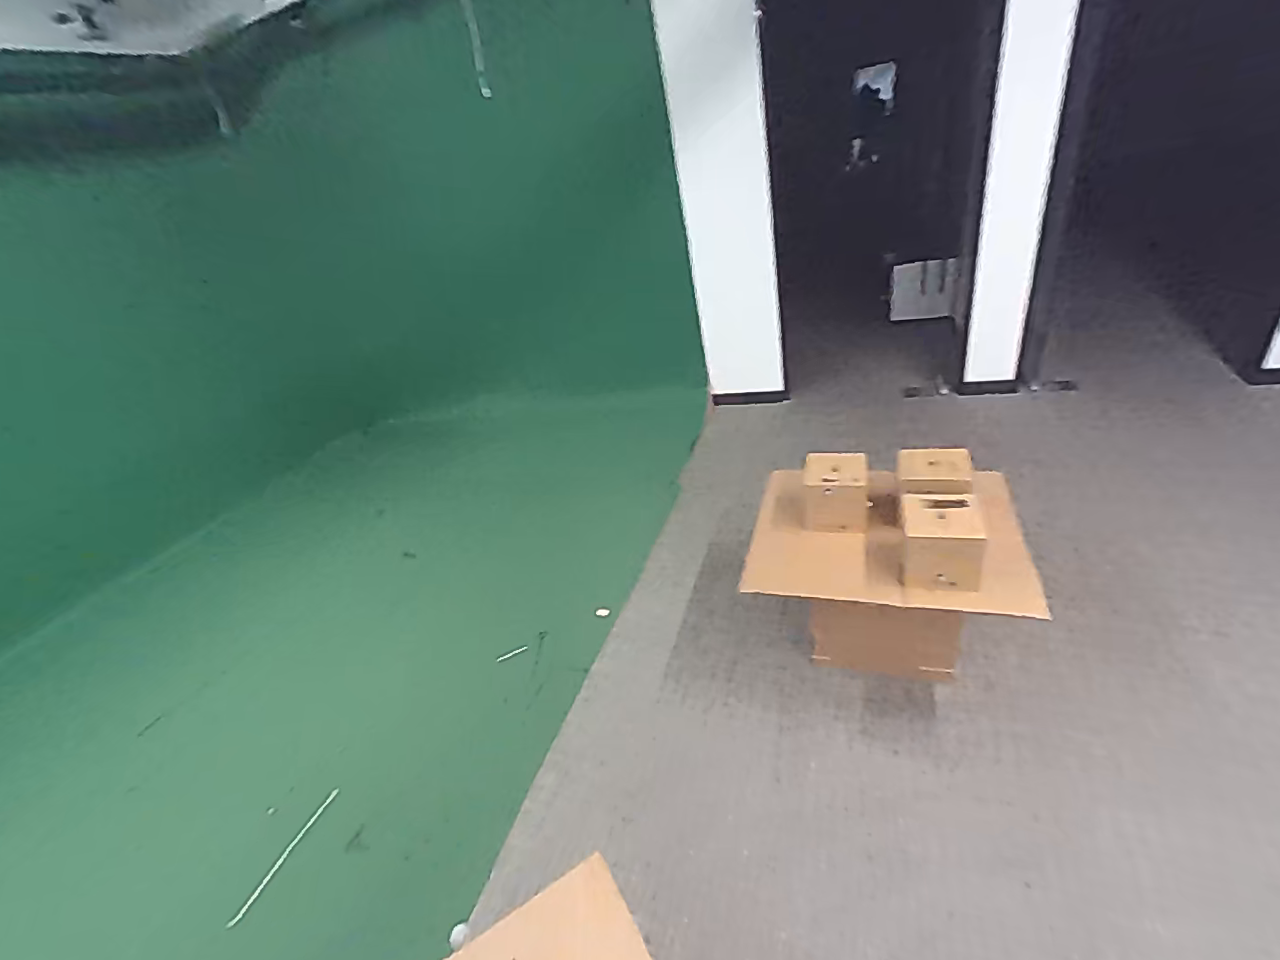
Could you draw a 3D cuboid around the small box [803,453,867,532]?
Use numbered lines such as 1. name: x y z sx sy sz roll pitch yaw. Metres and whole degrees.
1. small box: 0.577 0.035 1.591 0.168 0.176 0.179 -2 31 23
